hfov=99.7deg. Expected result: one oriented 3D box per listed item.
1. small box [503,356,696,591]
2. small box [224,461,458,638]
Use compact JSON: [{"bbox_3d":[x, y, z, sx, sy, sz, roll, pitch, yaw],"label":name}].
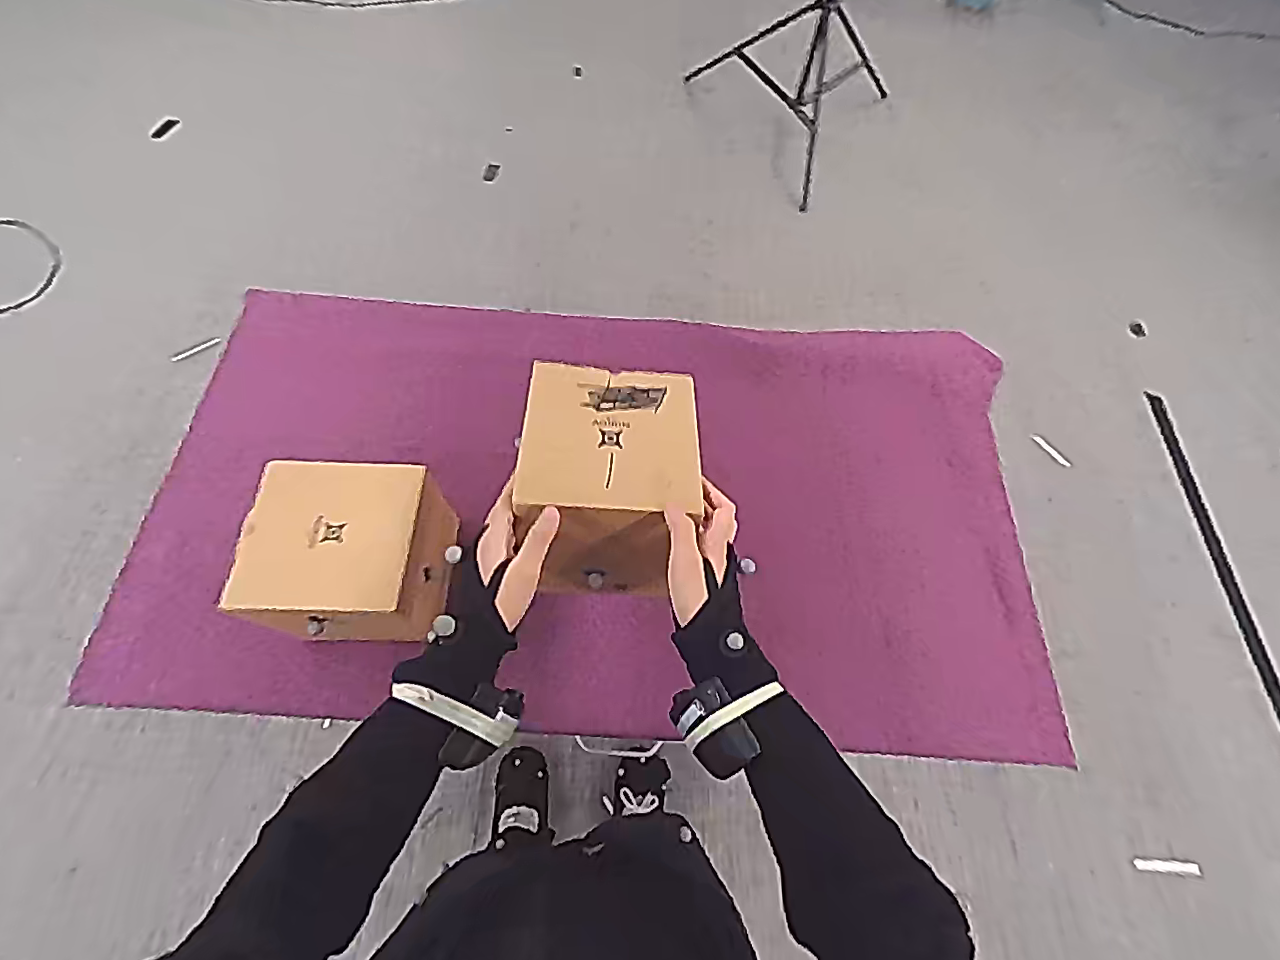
[{"bbox_3d":[-0.042,-0.002,0.565,0.168,0.176,0.179,3,54,-5],"label":"small box"},{"bbox_3d":[-0.330,0.089,0.644,0.179,0.176,0.168,1,64,-2],"label":"small box"}]
